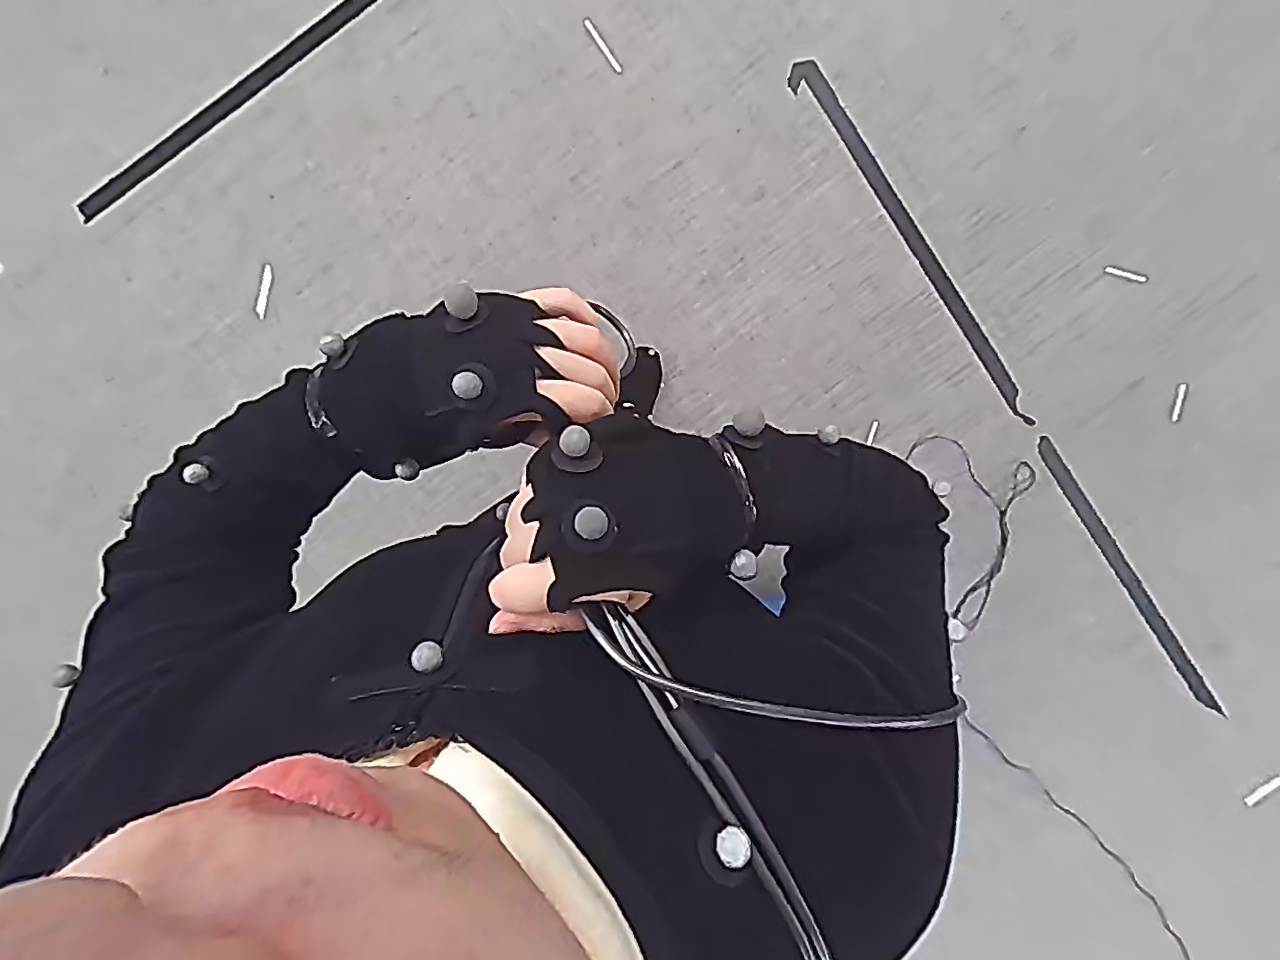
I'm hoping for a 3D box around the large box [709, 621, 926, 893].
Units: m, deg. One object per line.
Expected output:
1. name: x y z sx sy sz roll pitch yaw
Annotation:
1. large box: 0.375 0.593 1.223 0.320 0.320 0.408 -15 96 0
